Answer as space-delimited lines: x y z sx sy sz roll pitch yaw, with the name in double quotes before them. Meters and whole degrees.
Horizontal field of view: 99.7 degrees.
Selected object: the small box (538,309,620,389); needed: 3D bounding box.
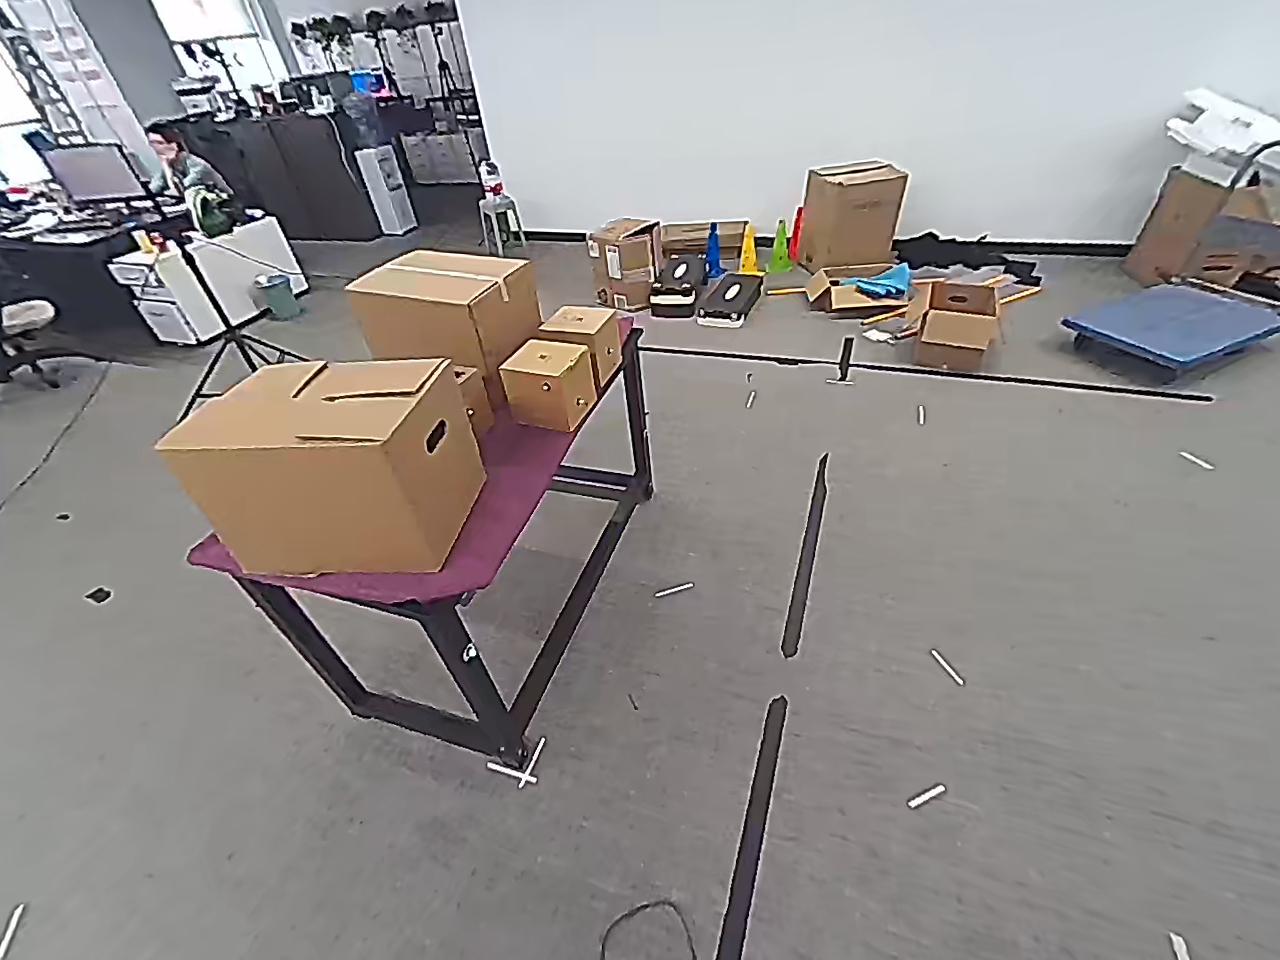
"small box" -0.168 -0.382 1.581 0.179 0.176 0.168 9 41 19
